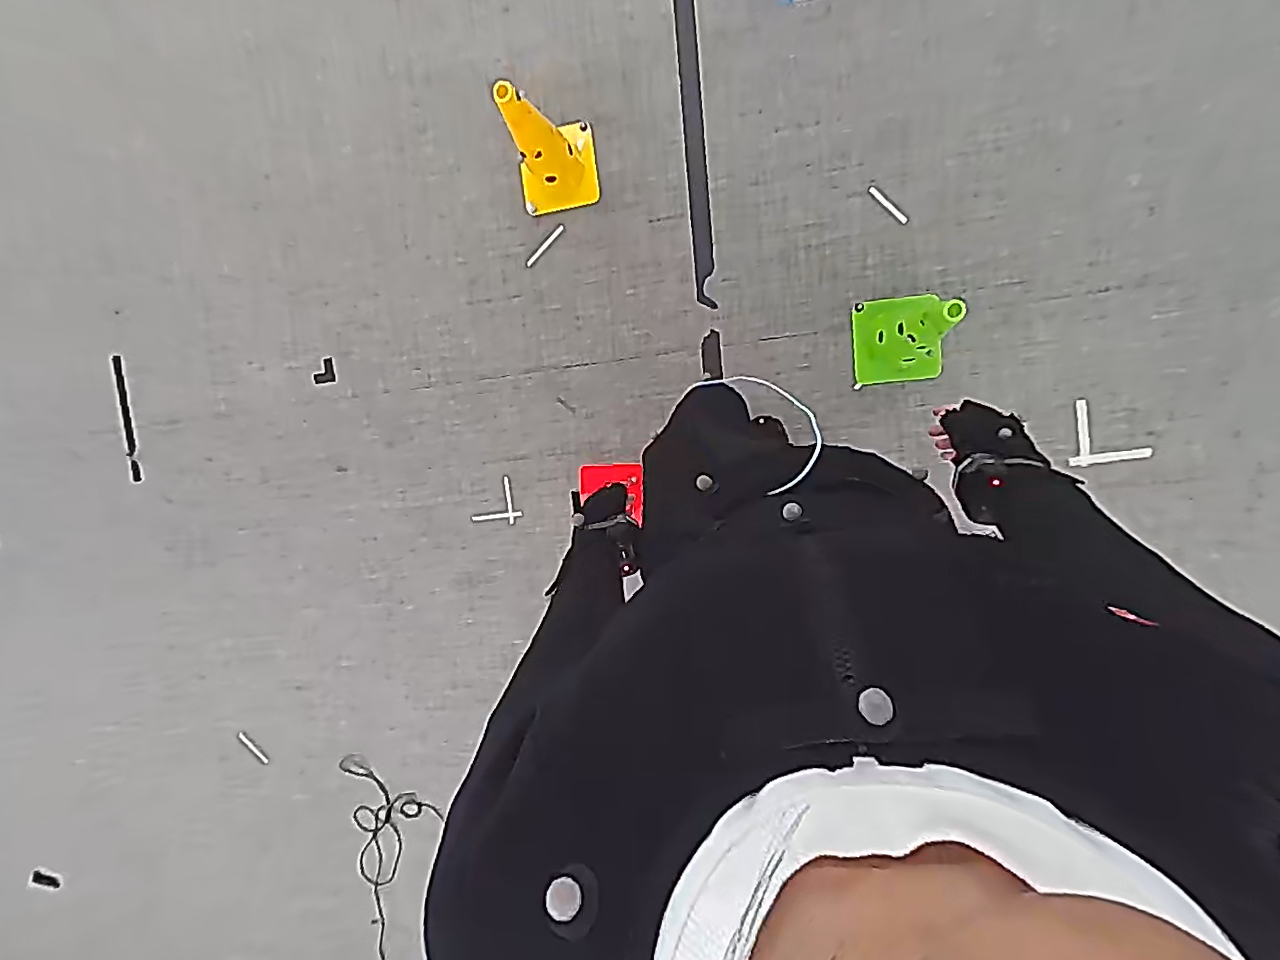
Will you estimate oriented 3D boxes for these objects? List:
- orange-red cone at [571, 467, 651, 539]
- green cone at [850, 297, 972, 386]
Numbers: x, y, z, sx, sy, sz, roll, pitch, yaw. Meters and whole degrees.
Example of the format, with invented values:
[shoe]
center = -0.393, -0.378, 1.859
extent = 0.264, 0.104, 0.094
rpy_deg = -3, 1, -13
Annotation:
[orange-red cone]
center = -0.100, 0.076, 1.307
extent = 0.199, 0.360, 0.198
rpy_deg = 0, 95, 10
[green cone]
center = 0.595, -0.316, 1.145
extent = 0.202, 0.368, 0.200
rpy_deg = -5, 96, 9
